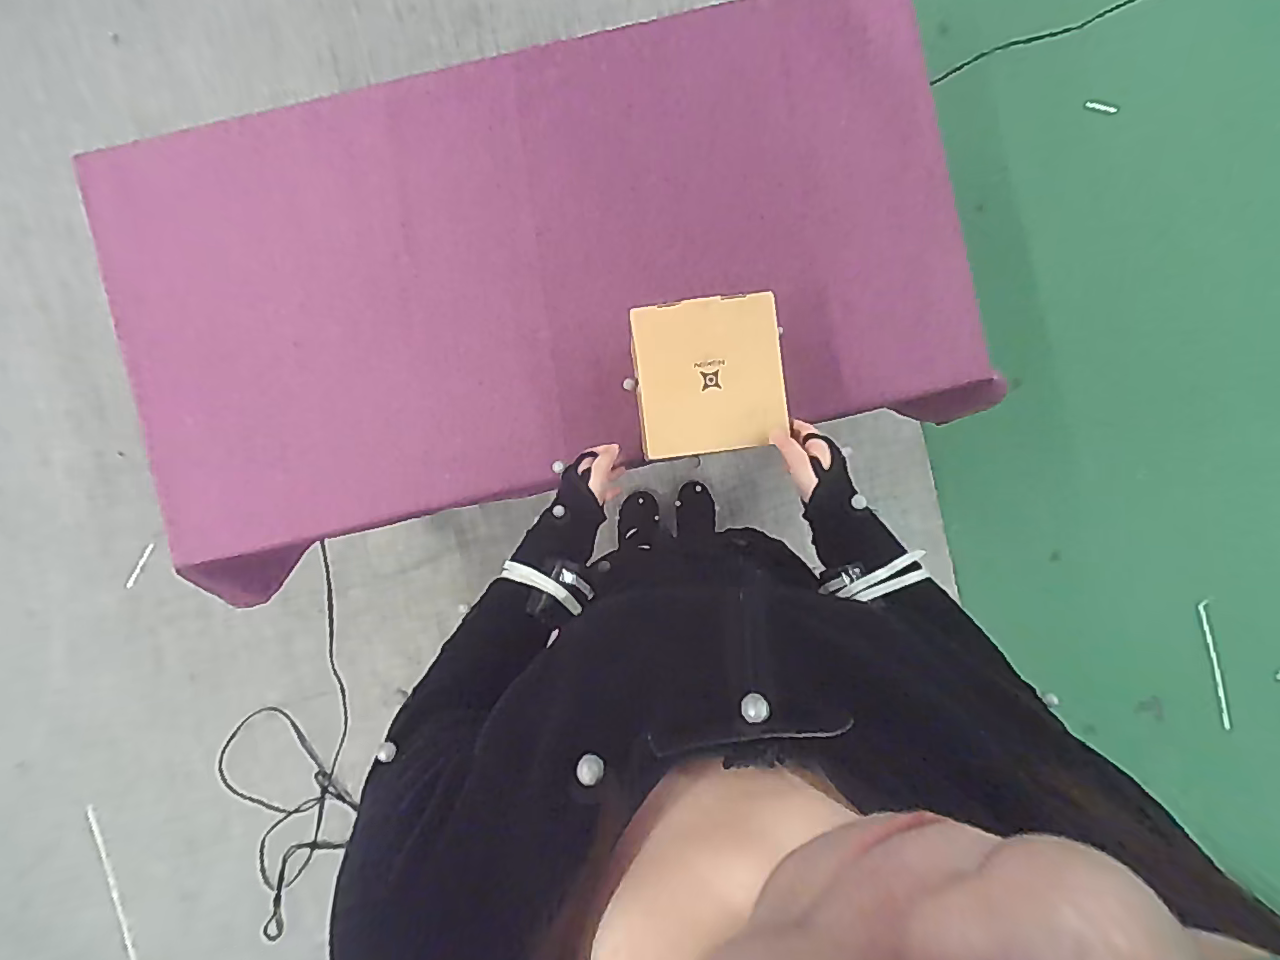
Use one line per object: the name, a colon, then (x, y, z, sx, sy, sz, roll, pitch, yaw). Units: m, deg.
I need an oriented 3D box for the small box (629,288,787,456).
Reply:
small box: (0.079, -0.124, 0.691, 0.168, 0.176, 0.179, -7, 90, 1)
